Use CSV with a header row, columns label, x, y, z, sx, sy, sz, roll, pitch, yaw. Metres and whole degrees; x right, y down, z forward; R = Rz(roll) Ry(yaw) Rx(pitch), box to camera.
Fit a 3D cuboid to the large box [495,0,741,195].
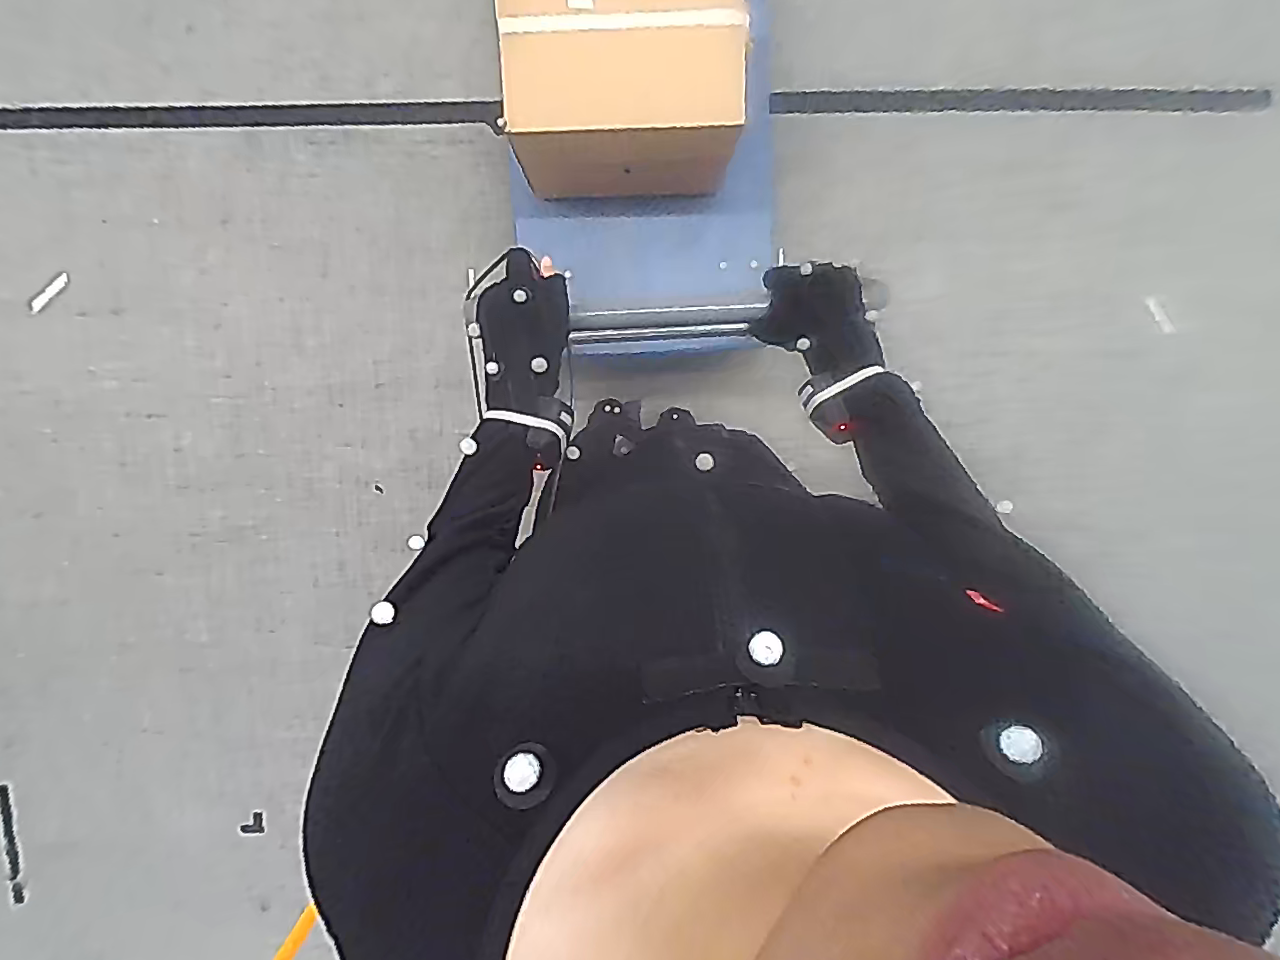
label,x,y,z,sx,sy,sz,roll,pitch,yaw
large box,-0.036,-0.765,1.032,0.408,0.320,0.320,-2,98,0
